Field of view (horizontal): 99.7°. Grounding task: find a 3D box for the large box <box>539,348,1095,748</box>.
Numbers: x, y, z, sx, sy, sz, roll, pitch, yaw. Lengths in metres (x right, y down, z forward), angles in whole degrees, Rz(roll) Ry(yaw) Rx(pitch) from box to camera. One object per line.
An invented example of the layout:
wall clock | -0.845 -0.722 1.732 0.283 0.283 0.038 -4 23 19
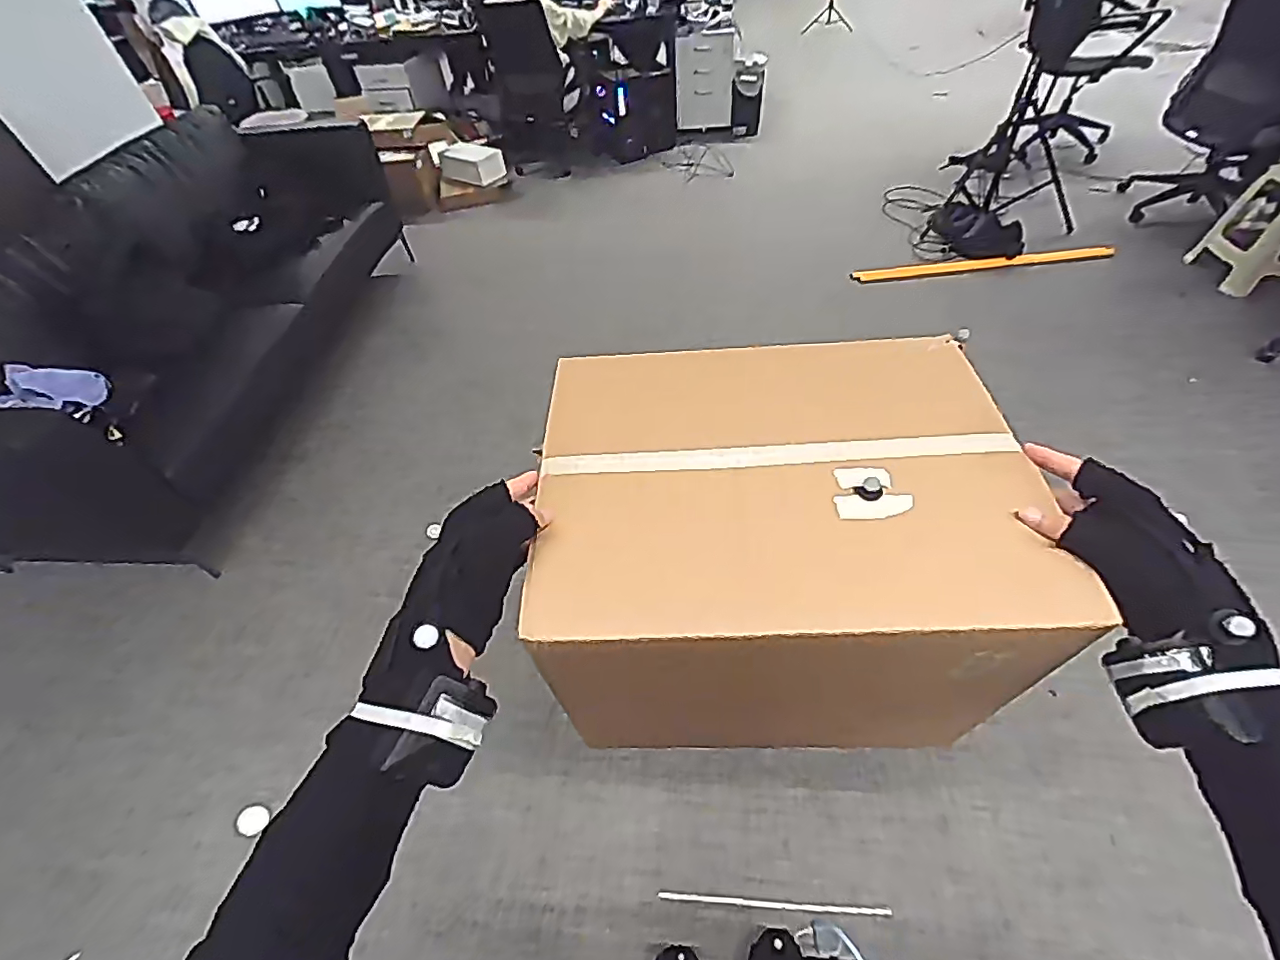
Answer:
large box | 0.128 0.083 0.591 0.408 0.320 0.320 -2 51 3
